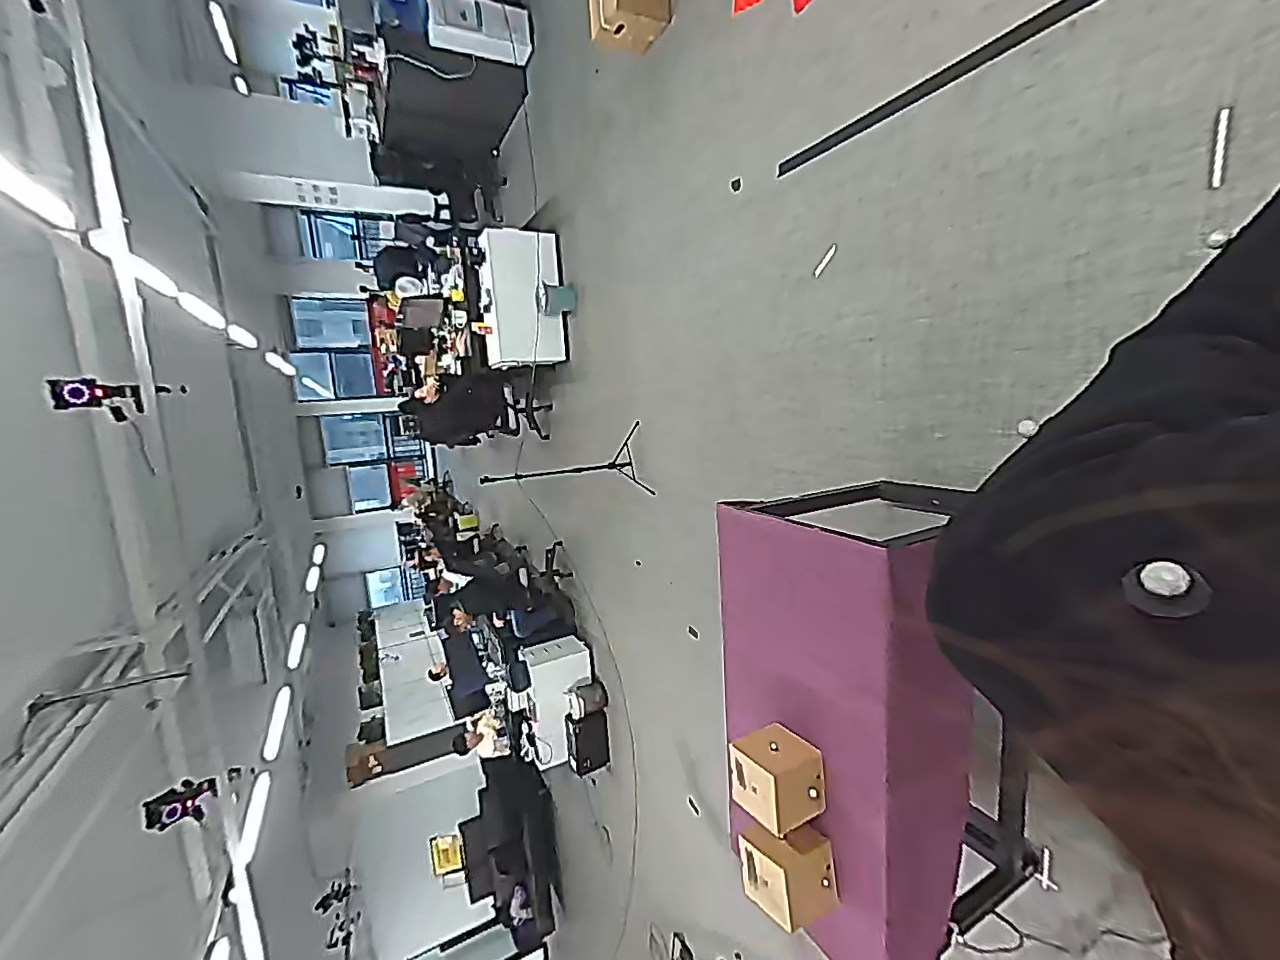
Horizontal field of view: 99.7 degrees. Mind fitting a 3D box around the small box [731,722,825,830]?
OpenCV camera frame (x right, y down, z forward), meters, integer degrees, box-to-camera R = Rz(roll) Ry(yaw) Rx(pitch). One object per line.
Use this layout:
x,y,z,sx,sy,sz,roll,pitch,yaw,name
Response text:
0.365,0.771,1.434,0.179,0.176,0.168,6,104,61,small box
